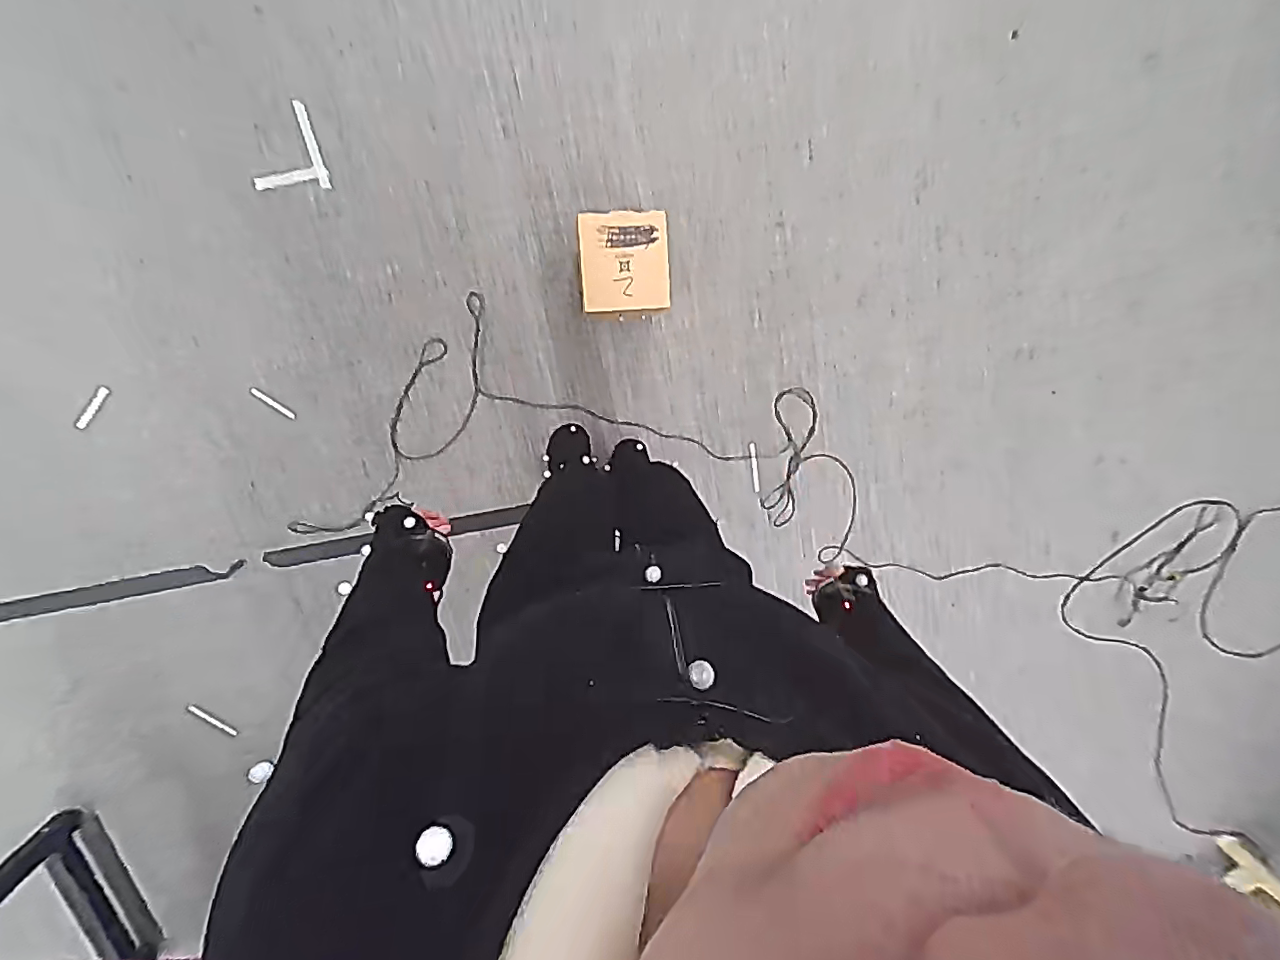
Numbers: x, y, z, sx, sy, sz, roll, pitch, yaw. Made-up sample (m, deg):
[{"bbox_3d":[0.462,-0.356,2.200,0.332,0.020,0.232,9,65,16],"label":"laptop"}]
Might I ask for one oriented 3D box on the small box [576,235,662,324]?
[{"bbox_3d":[-0.050,-0.456,1.249,0.179,0.176,0.168,-6,103,-5],"label":"small box"}]
